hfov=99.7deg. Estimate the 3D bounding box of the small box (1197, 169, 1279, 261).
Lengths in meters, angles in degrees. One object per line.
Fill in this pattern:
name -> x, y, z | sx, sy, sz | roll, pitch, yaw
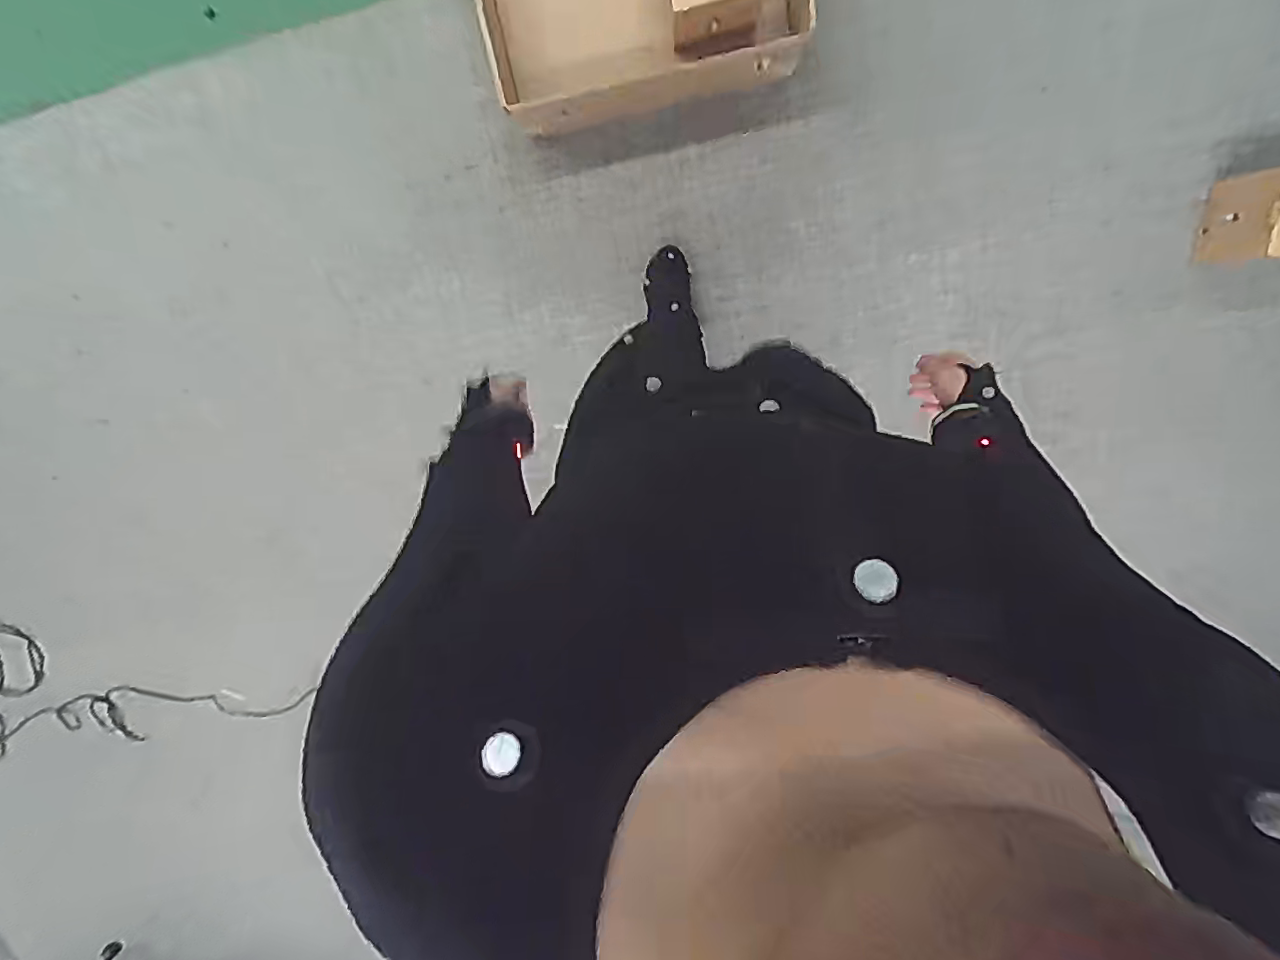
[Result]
small box -> 1.359, -0.557, 1.143 | 0.179, 0.176, 0.168 | 1, 110, 3
